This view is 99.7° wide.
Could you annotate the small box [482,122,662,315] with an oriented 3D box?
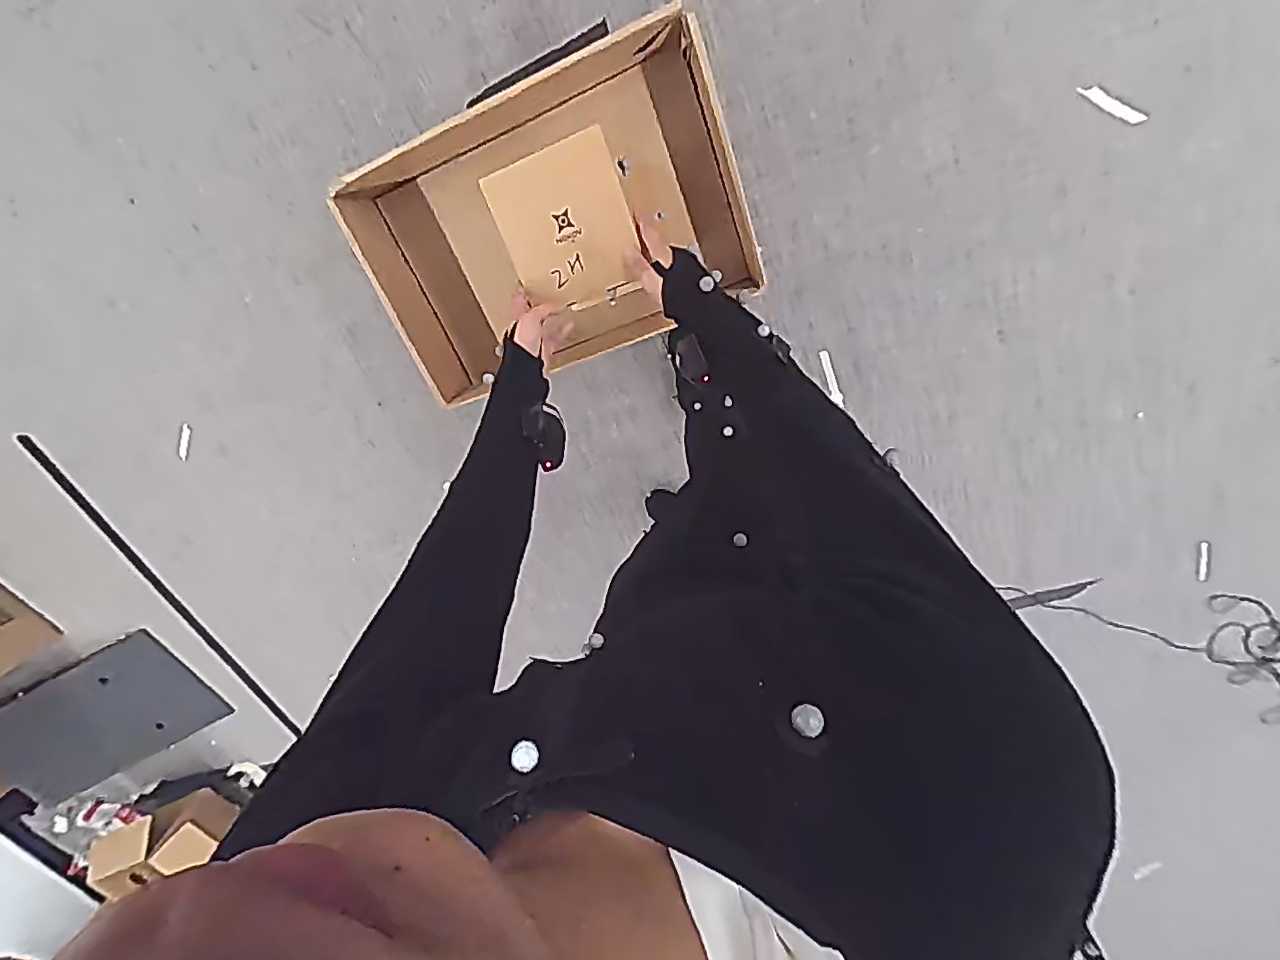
[{"bbox_3d":[-0.079,-0.347,0.733,0.168,0.176,0.179,-15,115,17],"label":"small box"}]
